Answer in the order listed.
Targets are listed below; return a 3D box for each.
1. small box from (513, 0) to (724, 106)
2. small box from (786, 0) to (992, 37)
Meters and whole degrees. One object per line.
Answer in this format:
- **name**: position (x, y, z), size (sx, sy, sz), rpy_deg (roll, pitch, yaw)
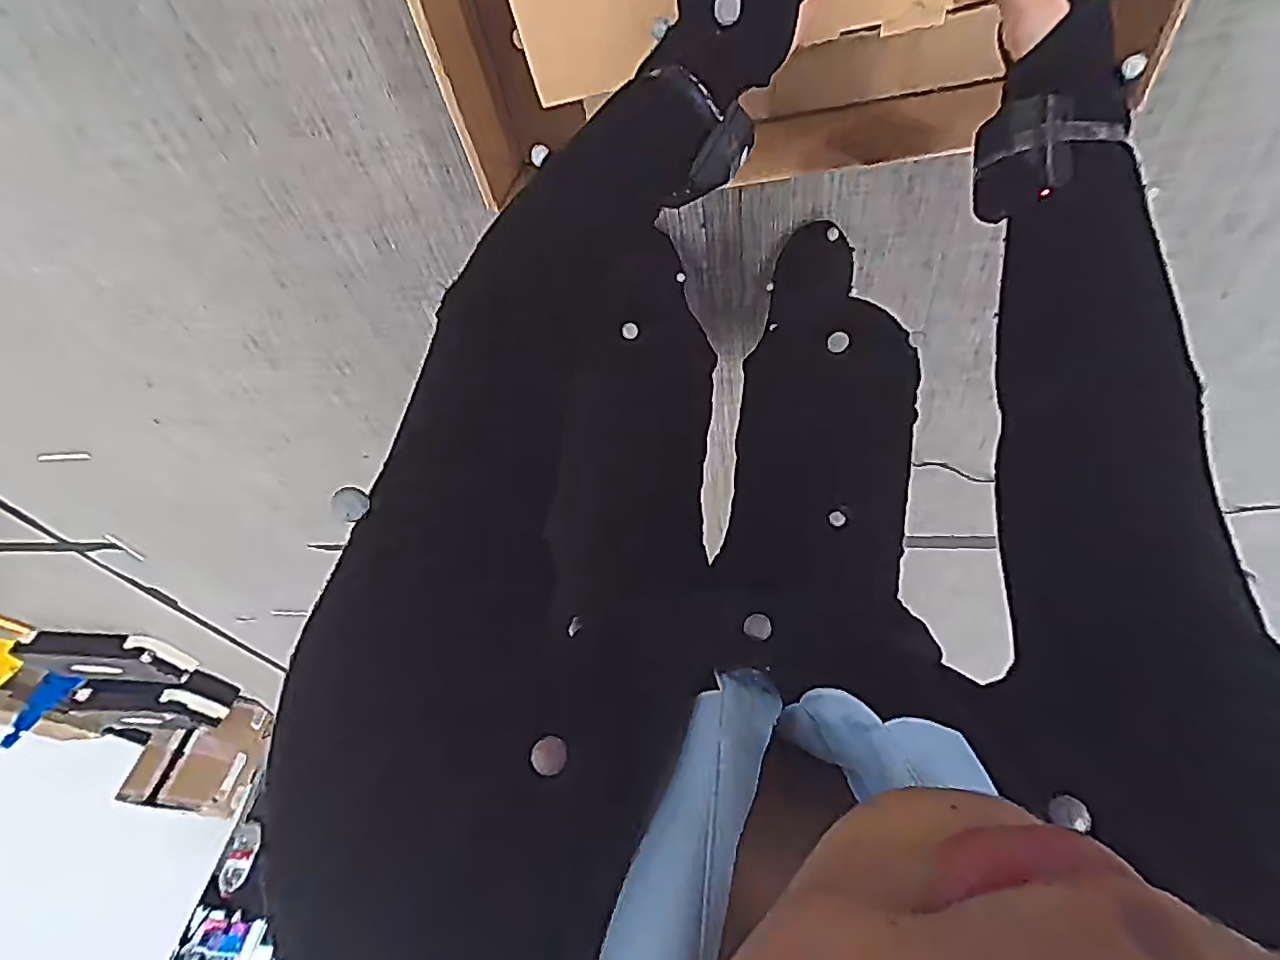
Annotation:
- **small box**: position (-0.018, -0.454, 0.453), size (0.168, 0.176, 0.179), rpy_deg (-5, 138, 12)
- **small box**: position (0.196, -0.454, 0.398), size (0.168, 0.176, 0.179), rpy_deg (-3, 130, 13)
